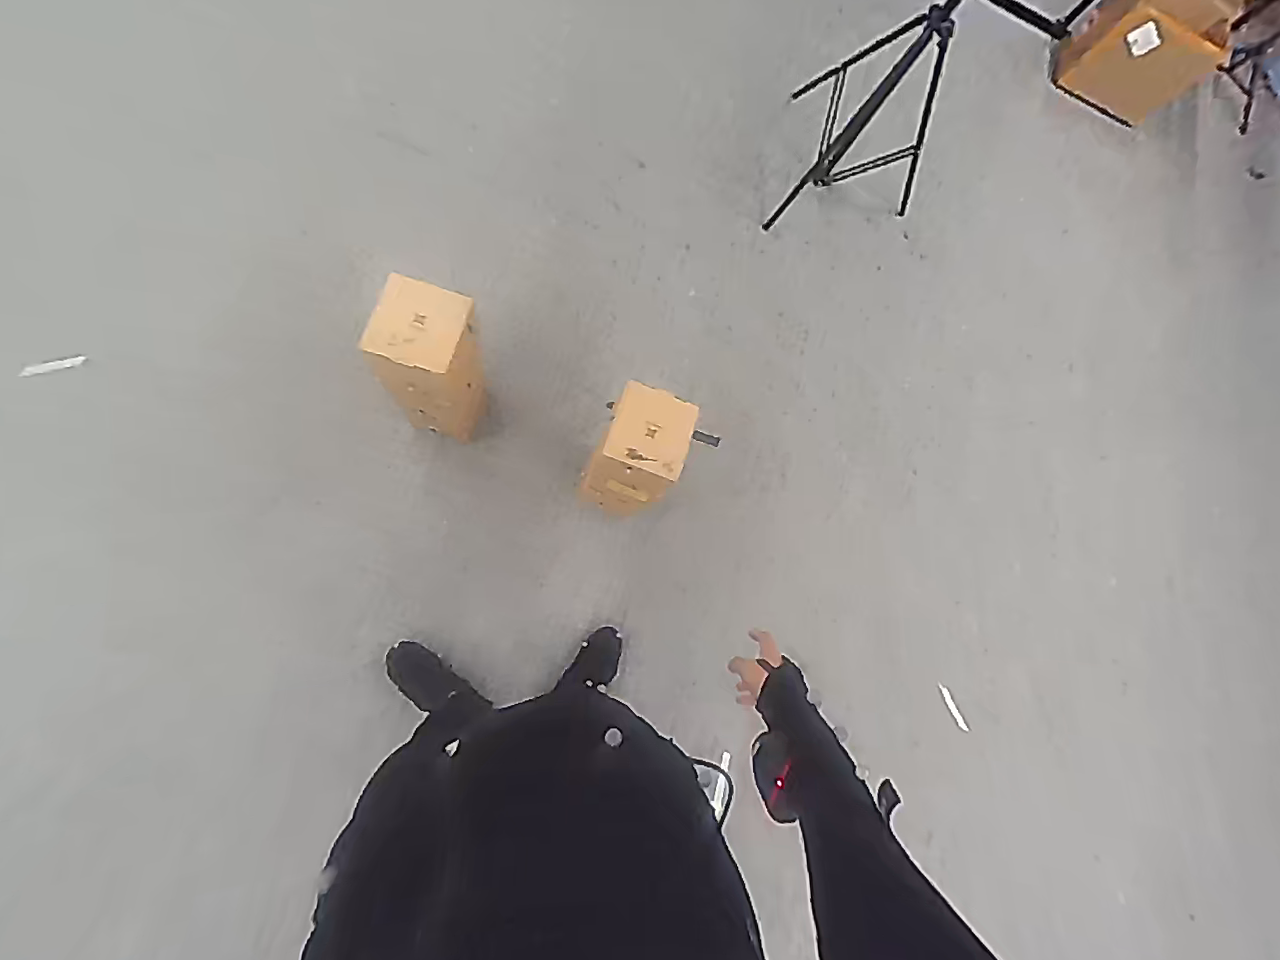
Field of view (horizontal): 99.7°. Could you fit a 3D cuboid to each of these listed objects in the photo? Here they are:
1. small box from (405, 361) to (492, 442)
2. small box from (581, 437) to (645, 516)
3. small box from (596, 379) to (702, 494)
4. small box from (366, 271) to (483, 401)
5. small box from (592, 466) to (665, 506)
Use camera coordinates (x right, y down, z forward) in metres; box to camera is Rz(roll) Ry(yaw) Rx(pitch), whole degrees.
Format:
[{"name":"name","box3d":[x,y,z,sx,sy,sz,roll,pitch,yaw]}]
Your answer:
[{"name":"small box","box3d":[-0.499,-0.224,1.438,0.168,0.176,0.179,17,74,-8]},{"name":"small box","box3d":[-0.056,-0.014,1.497,0.168,0.176,0.179,22,75,-8]},{"name":"small box","box3d":[0.012,-0.087,1.183,0.168,0.176,0.179,21,73,-8]},{"name":"small box","box3d":[-0.434,-0.290,1.123,0.168,0.176,0.179,17,75,-7]},{"name":"small box","box3d":[-0.012,-0.047,1.342,0.168,0.176,0.179,21,74,-9]}]
